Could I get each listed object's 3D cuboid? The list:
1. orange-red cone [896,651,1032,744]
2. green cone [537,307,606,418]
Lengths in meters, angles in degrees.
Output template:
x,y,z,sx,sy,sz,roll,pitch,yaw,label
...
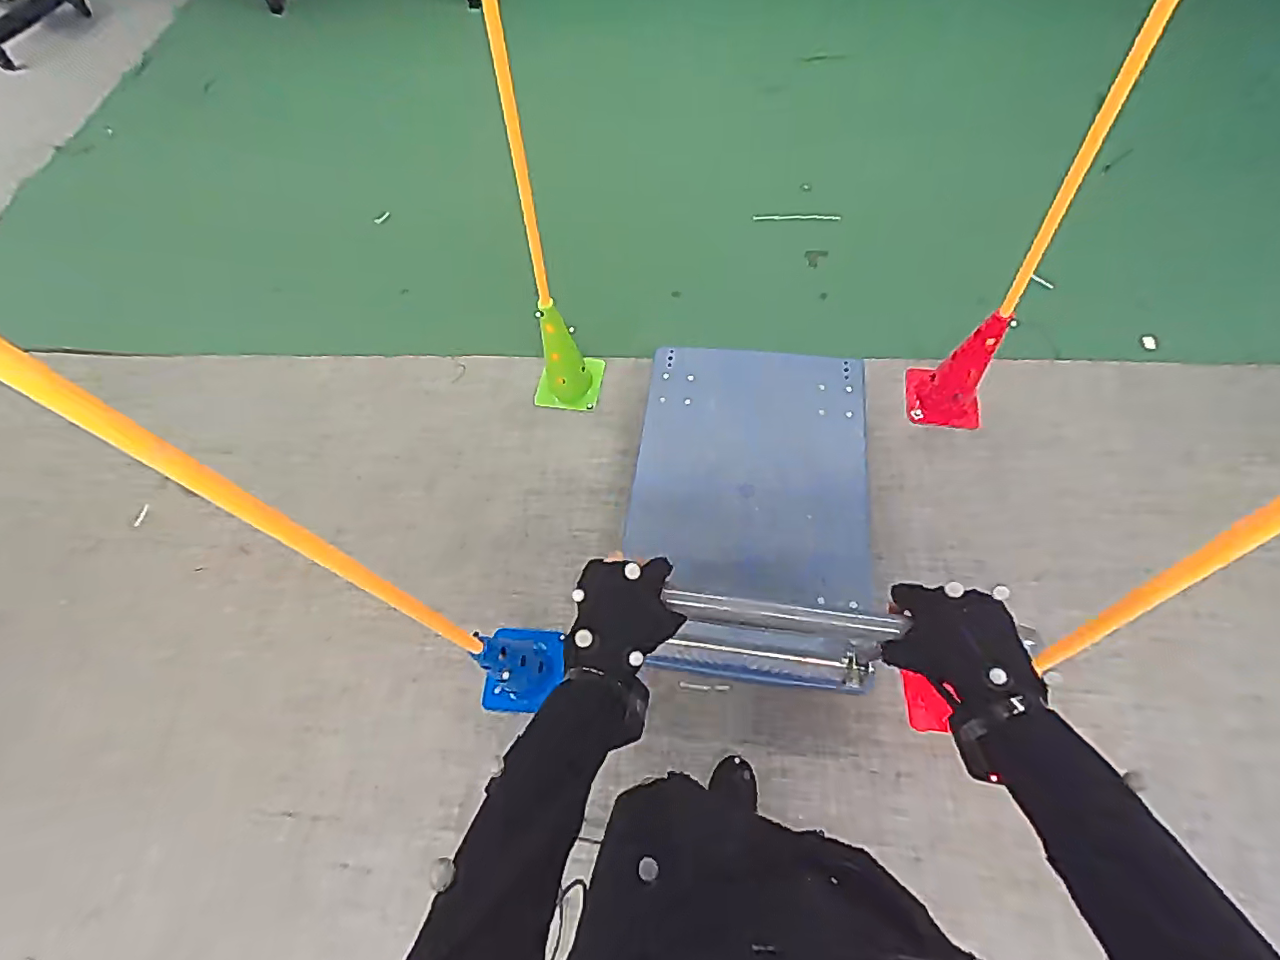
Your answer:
x,y,z,sx,sy,sz,roll,pitch,yaw,label
0.700,0.431,1.125,0.199,0.360,0.198,1,63,7,orange-red cone
-0.235,-0.369,1.601,0.202,0.368,0.200,6,63,8,green cone
